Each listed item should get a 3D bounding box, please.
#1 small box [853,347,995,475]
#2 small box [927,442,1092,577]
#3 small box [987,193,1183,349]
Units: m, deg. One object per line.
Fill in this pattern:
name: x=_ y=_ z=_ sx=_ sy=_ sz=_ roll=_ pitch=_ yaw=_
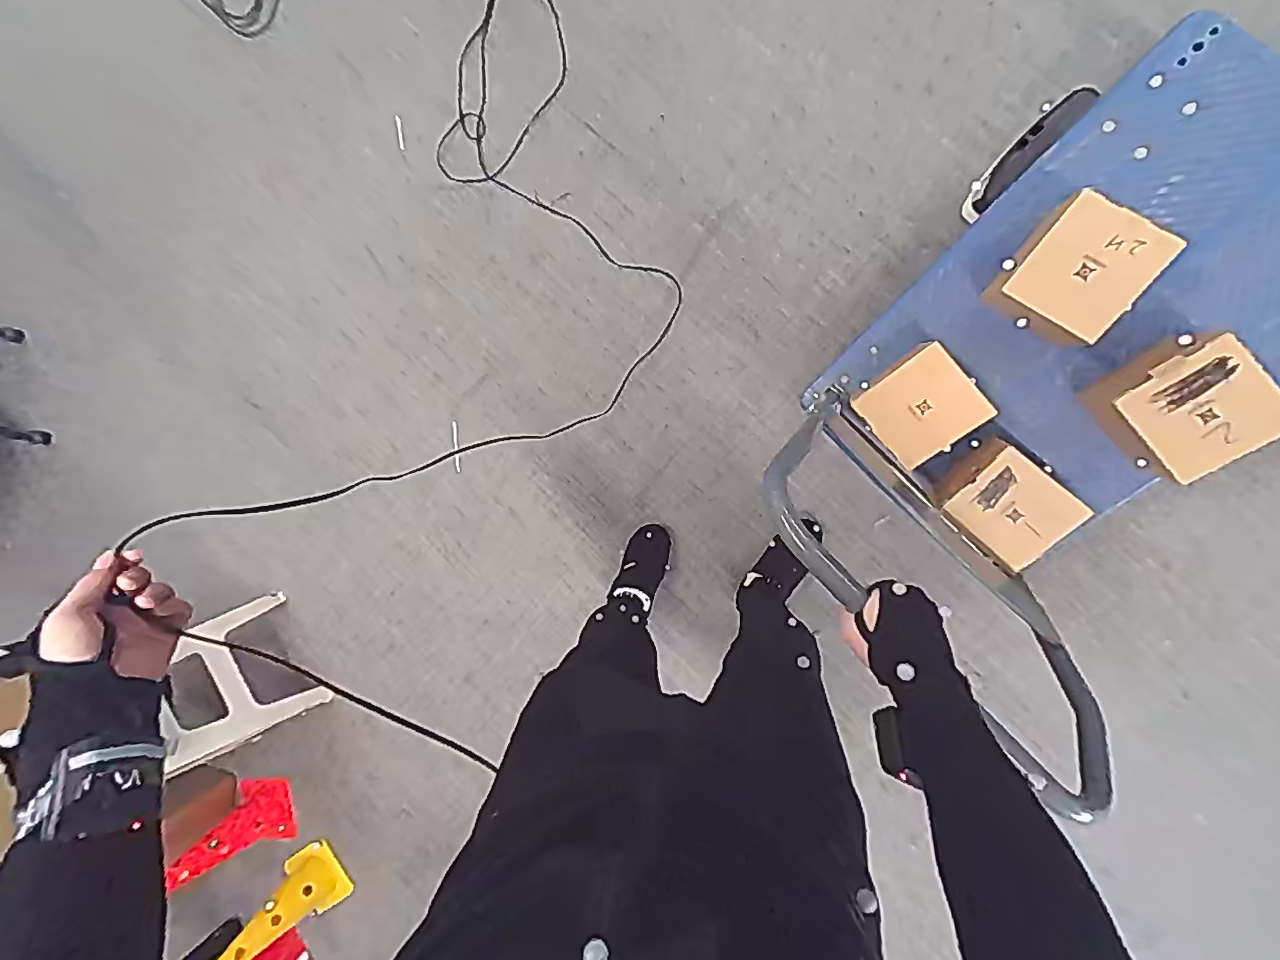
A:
small box: x=0.528 y=-0.140 z=1.036 sx=0.179 sy=0.176 sz=0.168 roll=-39 pitch=88 yaw=25
small box: x=0.676 y=0.045 z=1.018 sx=0.179 sy=0.176 sz=0.168 roll=43 pitch=114 yaw=6
small box: x=0.724 y=-0.339 z=0.912 sx=0.168 sy=0.176 sz=0.179 roll=37 pitch=112 yaw=8
